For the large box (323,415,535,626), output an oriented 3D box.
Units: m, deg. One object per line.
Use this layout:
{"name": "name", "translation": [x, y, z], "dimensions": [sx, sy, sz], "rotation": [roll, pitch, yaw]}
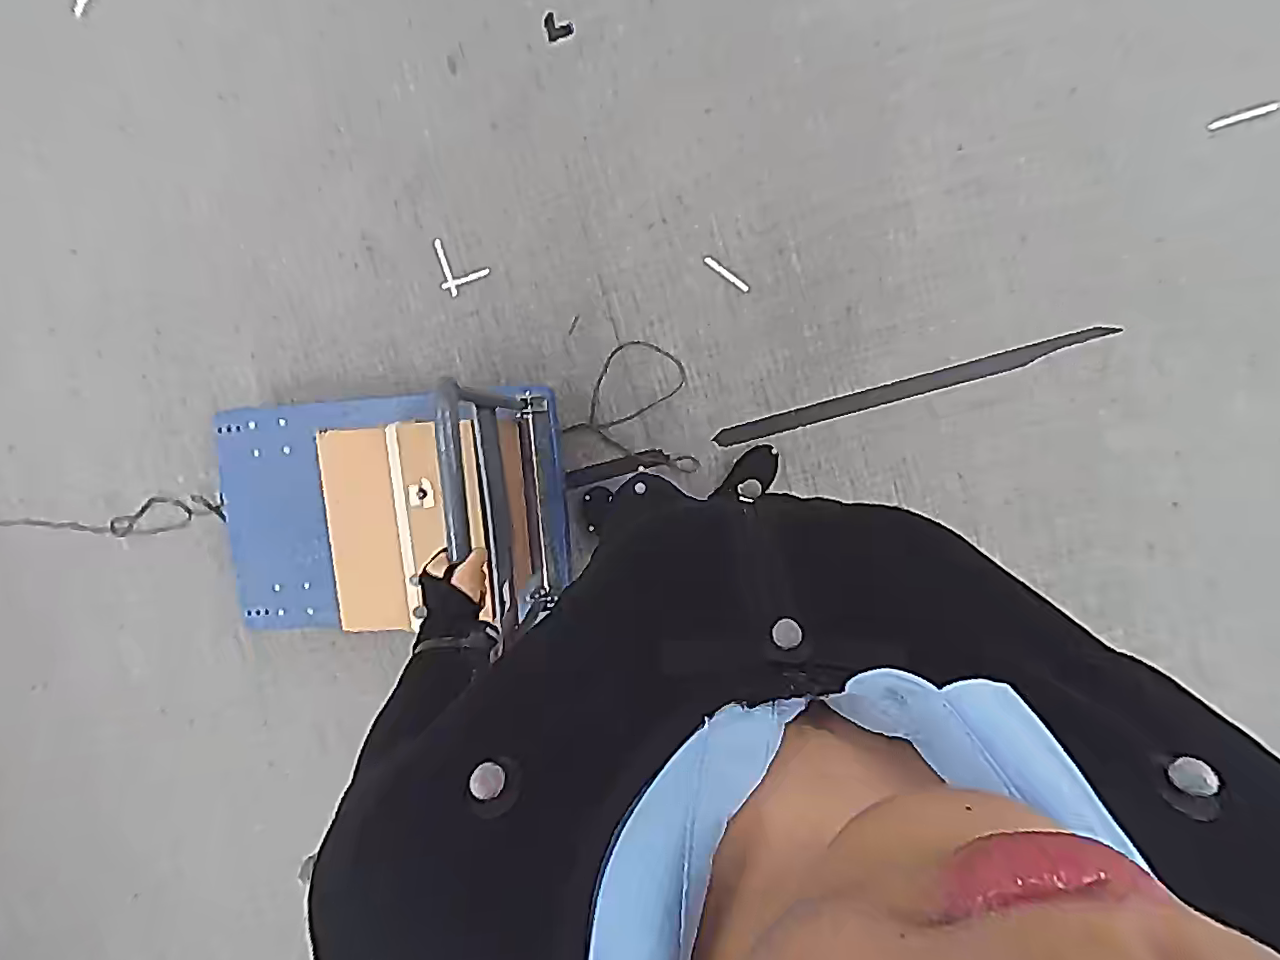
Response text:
{"name": "large box", "translation": [-0.442, 0.073, 1.213], "dimensions": [0.320, 0.320, 0.408], "rotation": [-5, 95, 3]}
